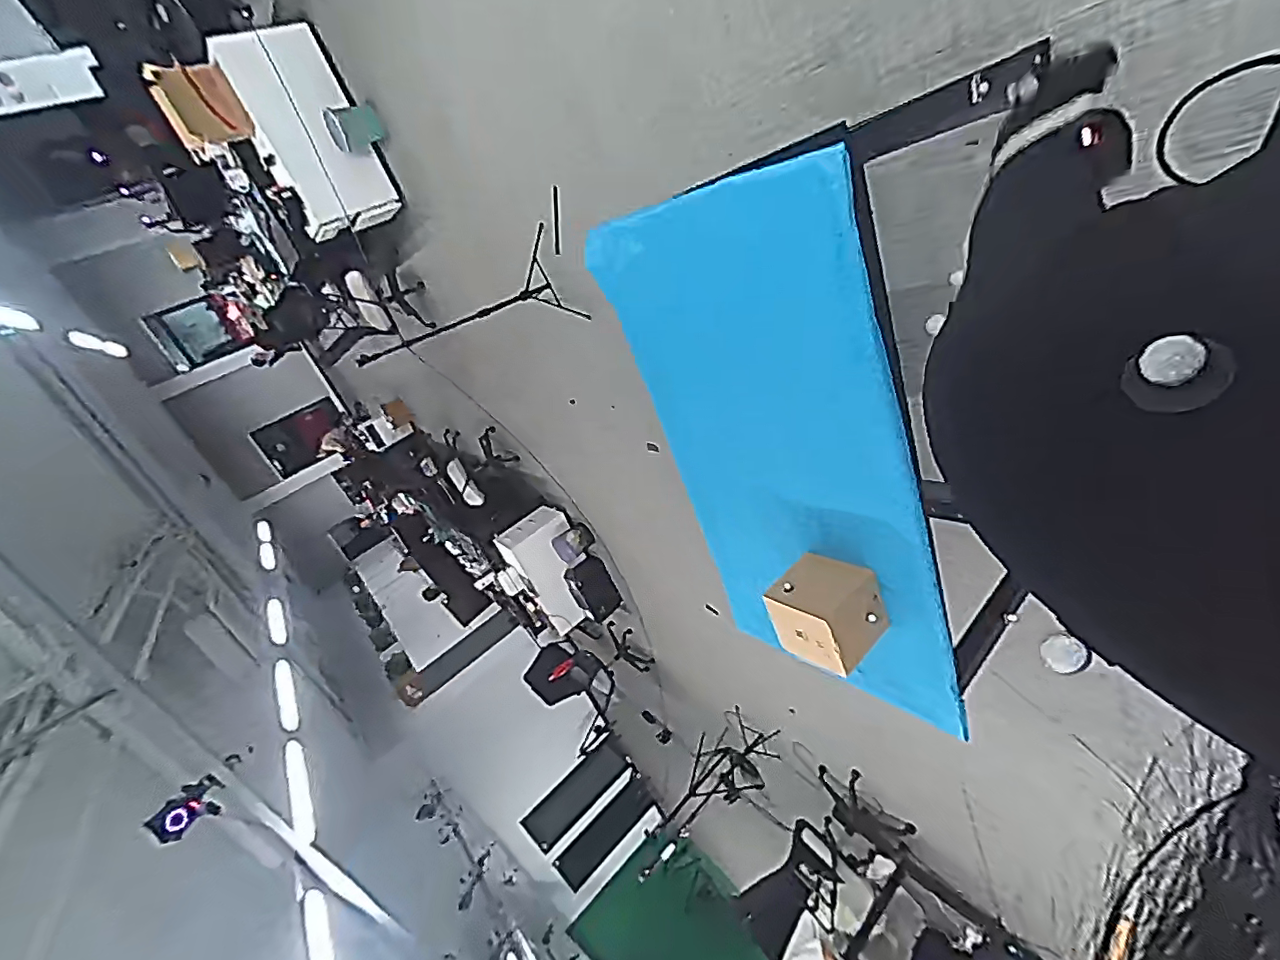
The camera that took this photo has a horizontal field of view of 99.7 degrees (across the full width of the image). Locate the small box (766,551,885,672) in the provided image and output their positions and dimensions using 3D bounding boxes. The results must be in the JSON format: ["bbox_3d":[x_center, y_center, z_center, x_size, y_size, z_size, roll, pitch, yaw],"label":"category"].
[{"bbox_3d":[0.415,0.282,1.206,0.179,0.176,0.168,14,135,51],"label":"small box"}]
